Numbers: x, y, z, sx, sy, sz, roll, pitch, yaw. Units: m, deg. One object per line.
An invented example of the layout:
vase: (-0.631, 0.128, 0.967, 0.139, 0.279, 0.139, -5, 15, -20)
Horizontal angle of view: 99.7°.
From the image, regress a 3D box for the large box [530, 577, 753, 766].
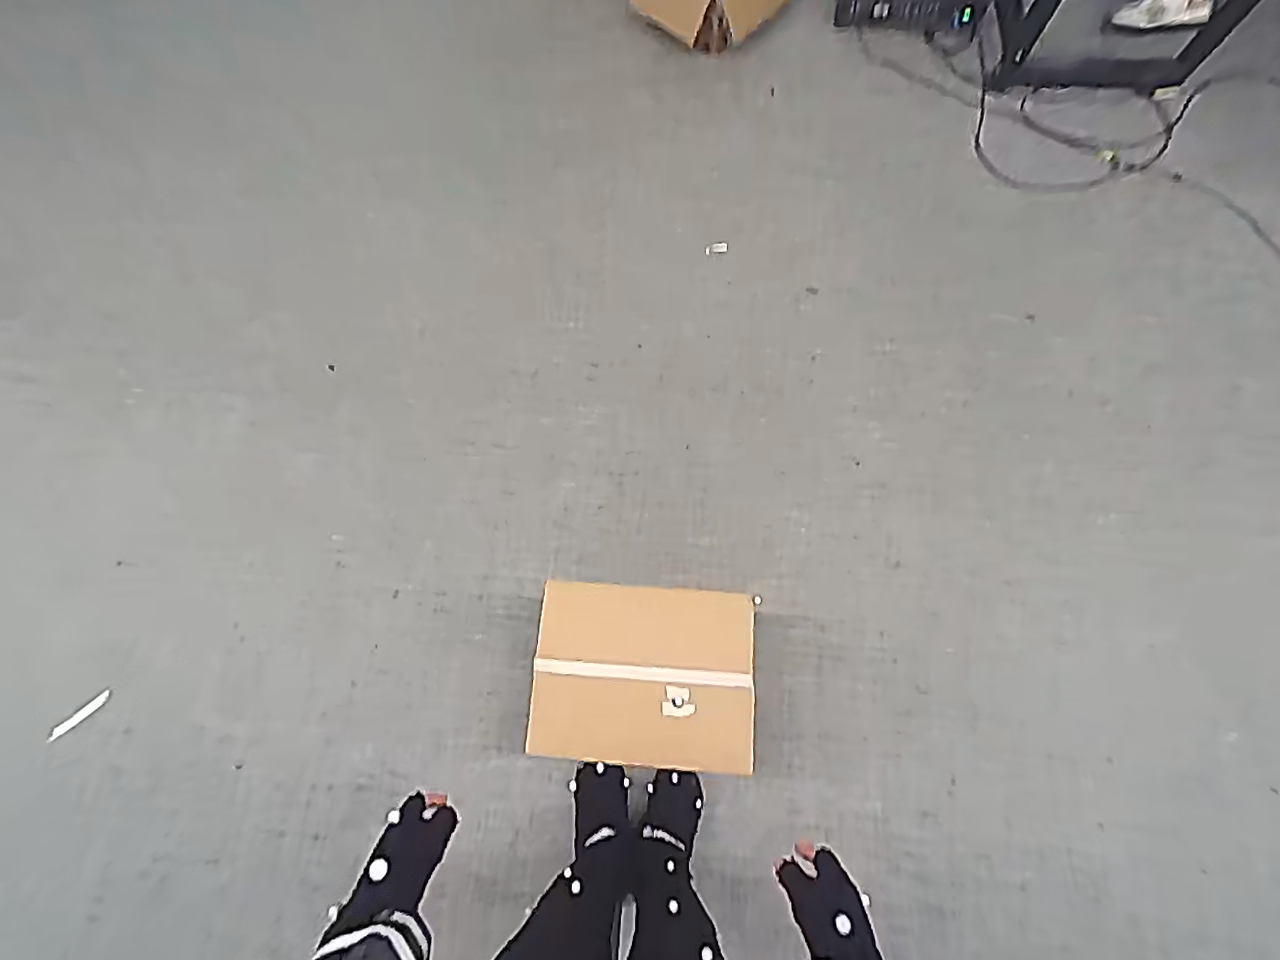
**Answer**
large box: (0.011, 0.391, 1.141, 0.408, 0.320, 0.320, 4, 73, 3)
